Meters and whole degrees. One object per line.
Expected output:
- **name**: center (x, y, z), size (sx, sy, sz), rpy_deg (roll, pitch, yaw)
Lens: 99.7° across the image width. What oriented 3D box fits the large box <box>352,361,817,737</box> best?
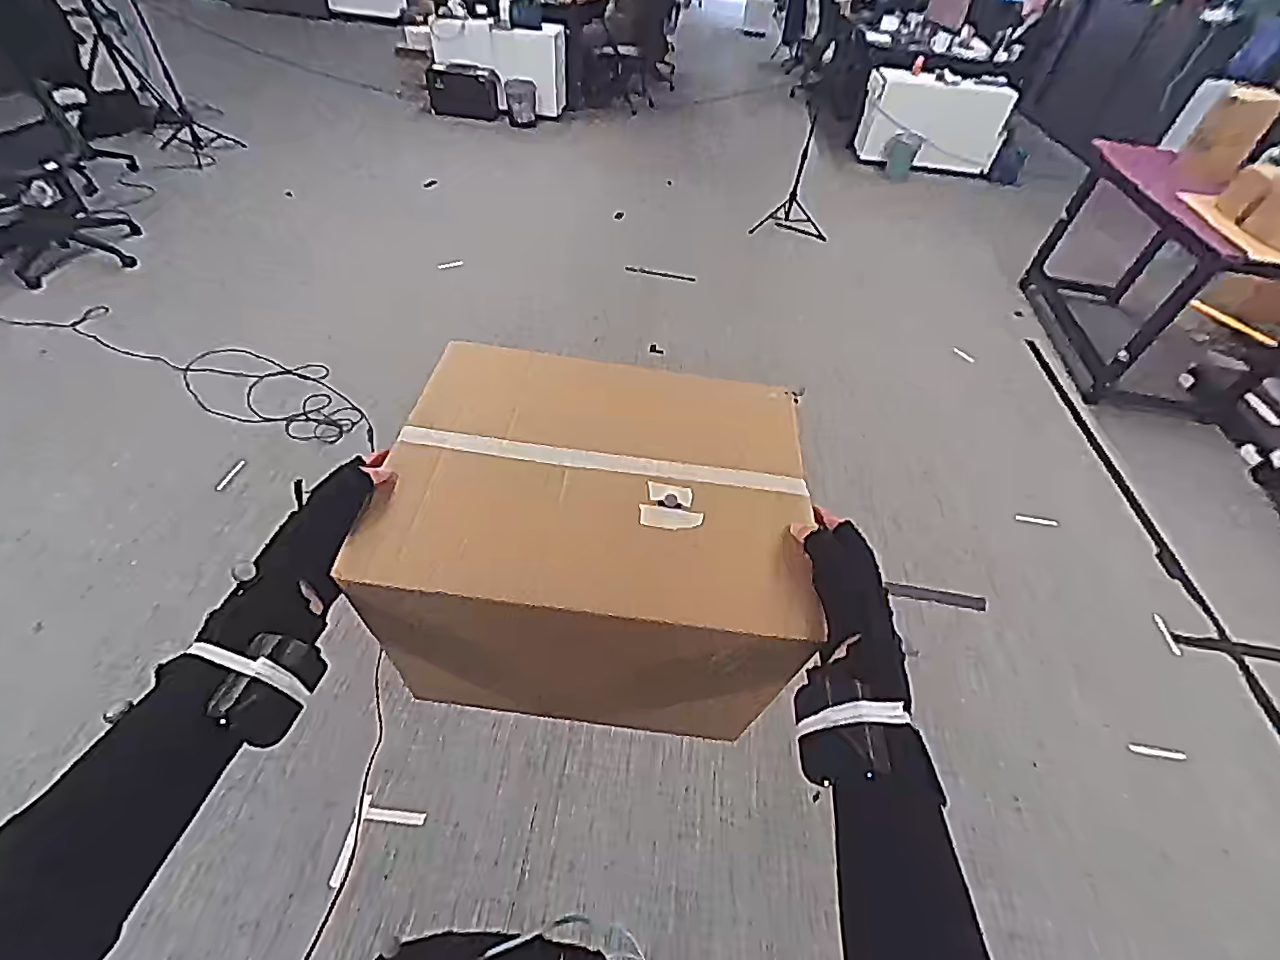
- **large box**: center (-0.051, 0.093, 0.660), size (0.408, 0.320, 0.320), rpy_deg (8, 51, -2)
